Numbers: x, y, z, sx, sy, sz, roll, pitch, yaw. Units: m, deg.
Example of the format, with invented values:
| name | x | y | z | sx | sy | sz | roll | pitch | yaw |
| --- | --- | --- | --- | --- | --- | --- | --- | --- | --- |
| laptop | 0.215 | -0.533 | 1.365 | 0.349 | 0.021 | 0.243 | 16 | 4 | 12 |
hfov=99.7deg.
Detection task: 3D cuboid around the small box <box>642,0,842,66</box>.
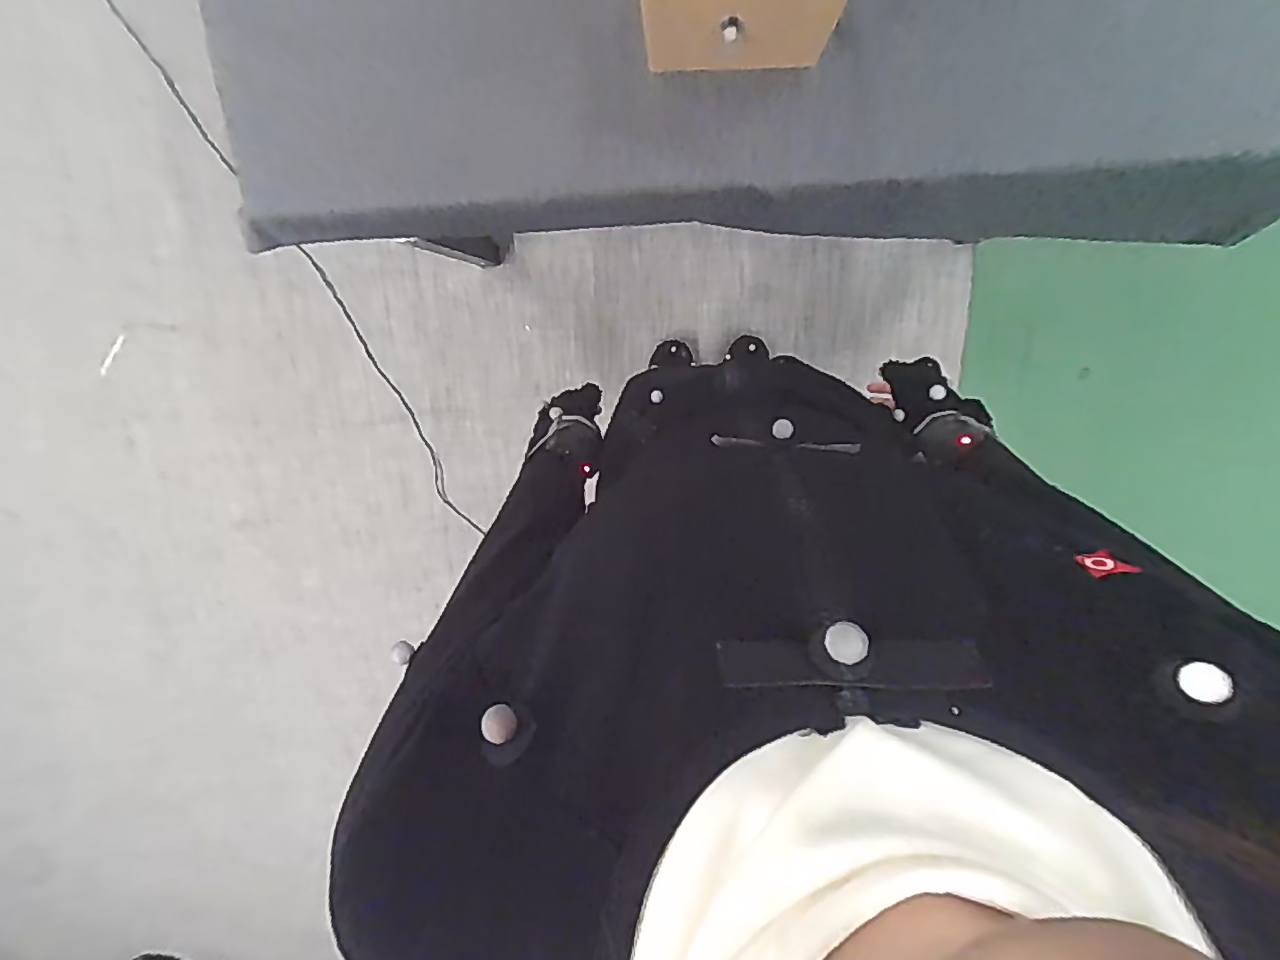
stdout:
| name | x | y | z | sx | sy | sz | roll | pitch | yaw |
| --- | --- | --- | --- | --- | --- | --- | --- | --- | --- |
| small box | 0.092 | -0.492 | 0.469 | 0.179 | 0.176 | 0.168 | 2 | 106 | 5 |
